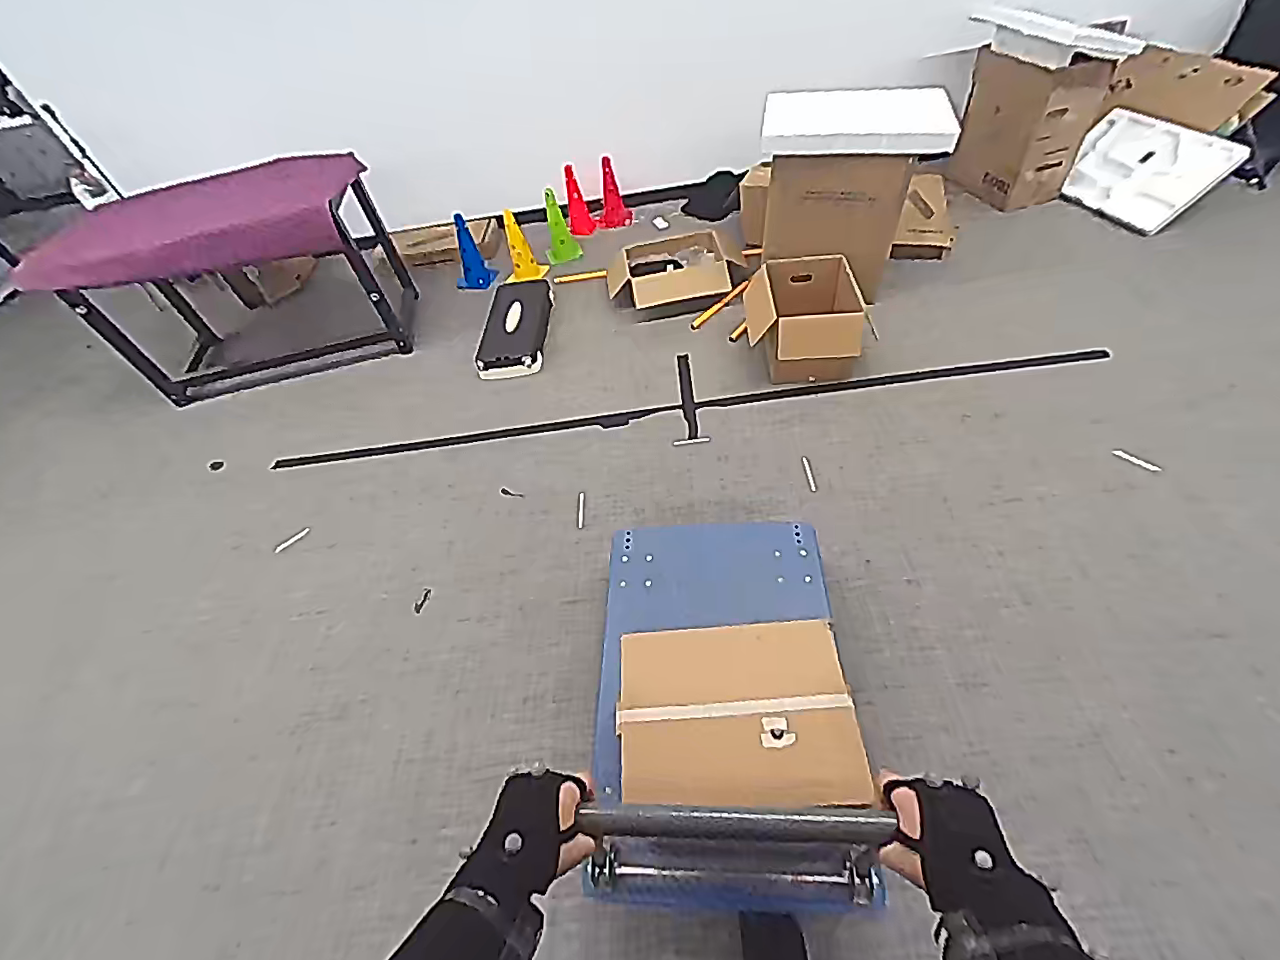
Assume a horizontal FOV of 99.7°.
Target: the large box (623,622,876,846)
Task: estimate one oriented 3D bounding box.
[{"bbox_3d":[0.185,0.508,1.070,0.408,0.320,0.320,-6,50,3],"label":"large box"}]
